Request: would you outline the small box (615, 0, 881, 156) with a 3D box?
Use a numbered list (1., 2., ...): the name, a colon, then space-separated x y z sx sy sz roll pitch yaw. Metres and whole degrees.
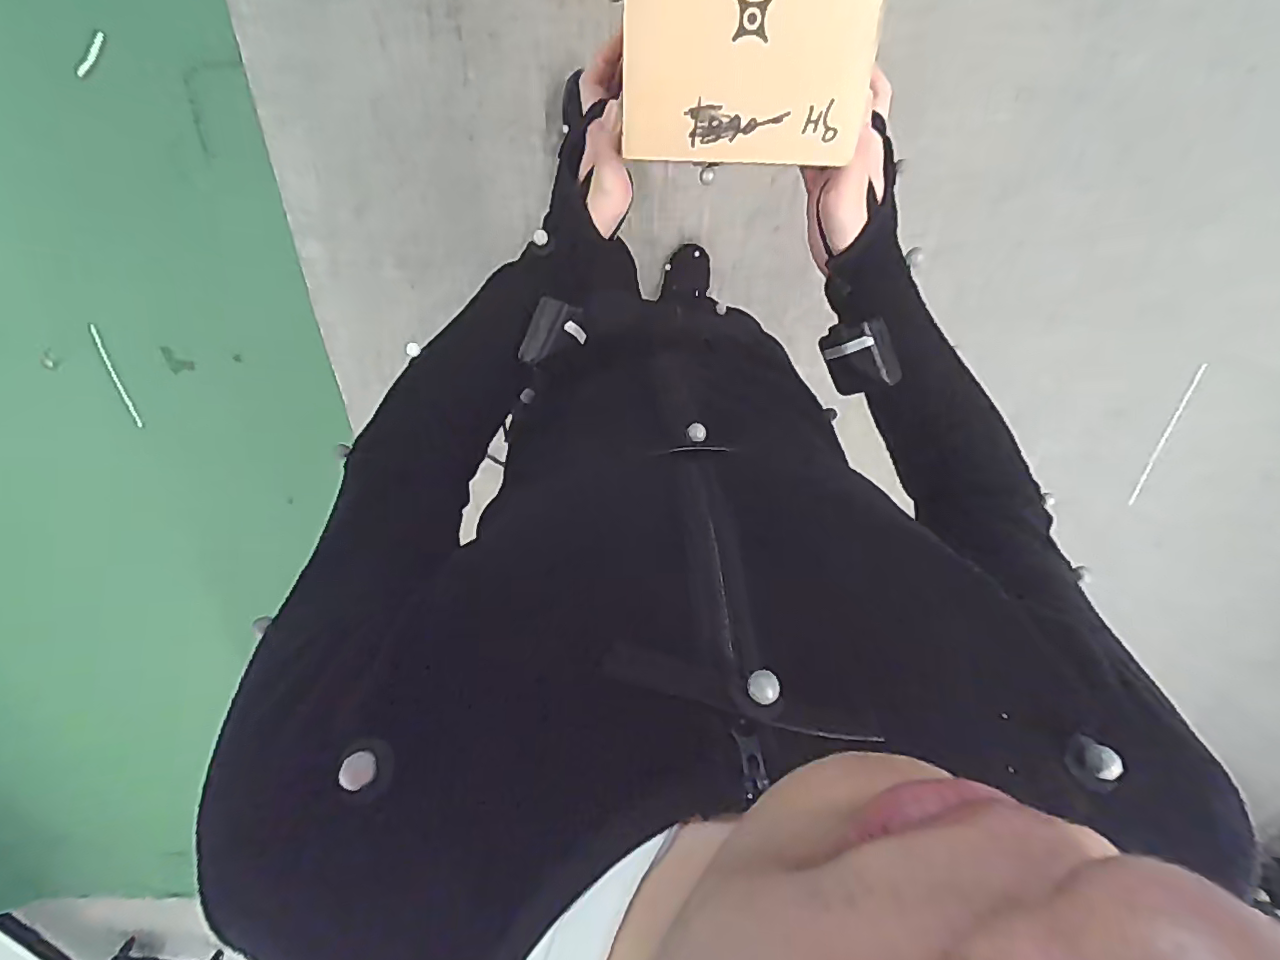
1. small box: 0.066 -0.344 0.397 0.168 0.176 0.179 1 121 -2
